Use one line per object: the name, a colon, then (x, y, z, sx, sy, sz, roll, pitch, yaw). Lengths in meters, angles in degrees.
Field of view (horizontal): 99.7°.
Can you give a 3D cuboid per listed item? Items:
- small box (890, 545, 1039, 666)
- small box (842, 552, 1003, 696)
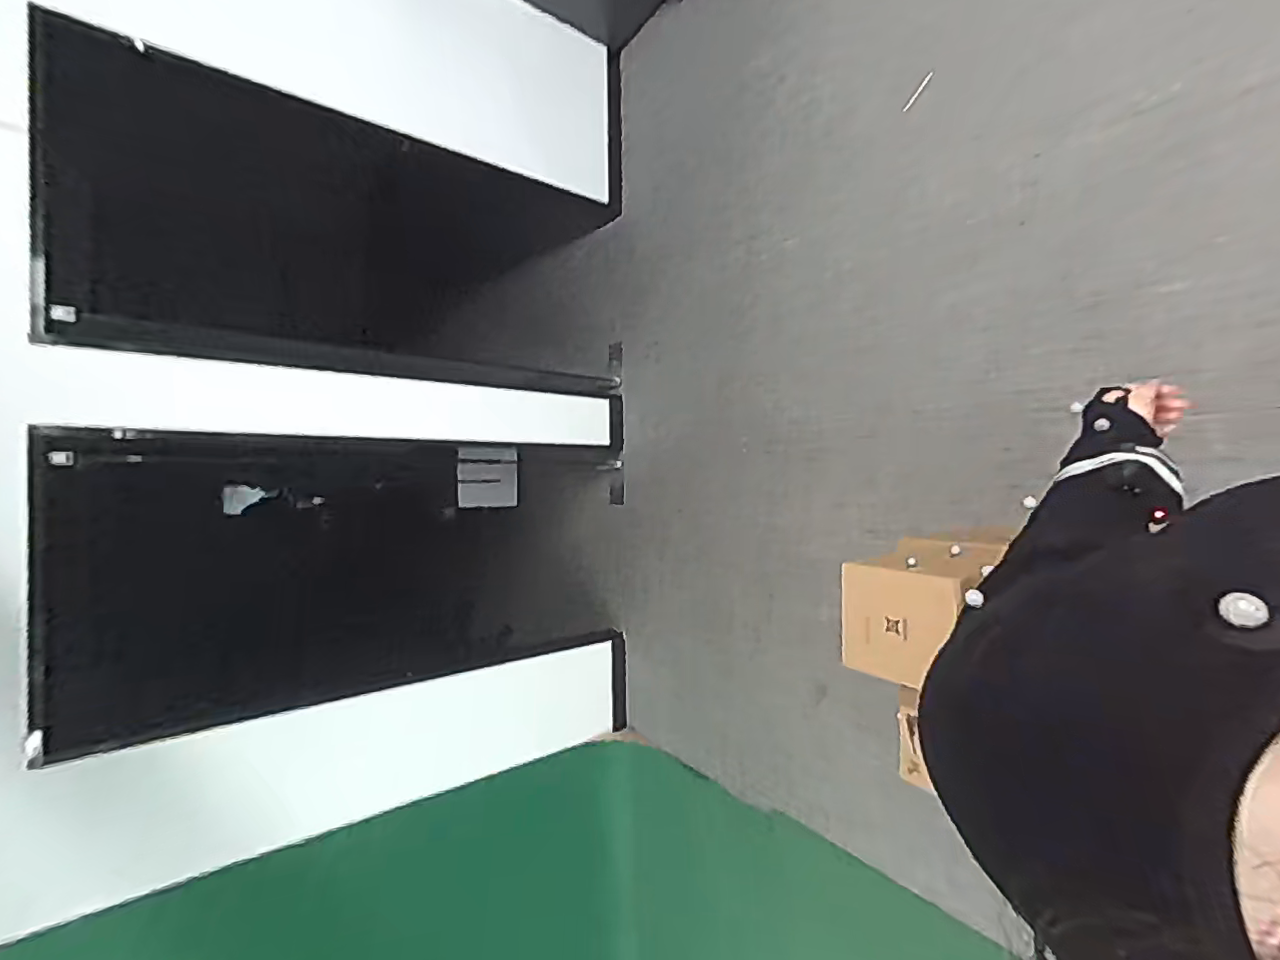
small box: (0.564, 0.207, 0.946, 0.179, 0.176, 0.168, -1, 91, 54)
small box: (0.439, 0.208, 0.841, 0.179, 0.176, 0.168, 1, 92, 54)
